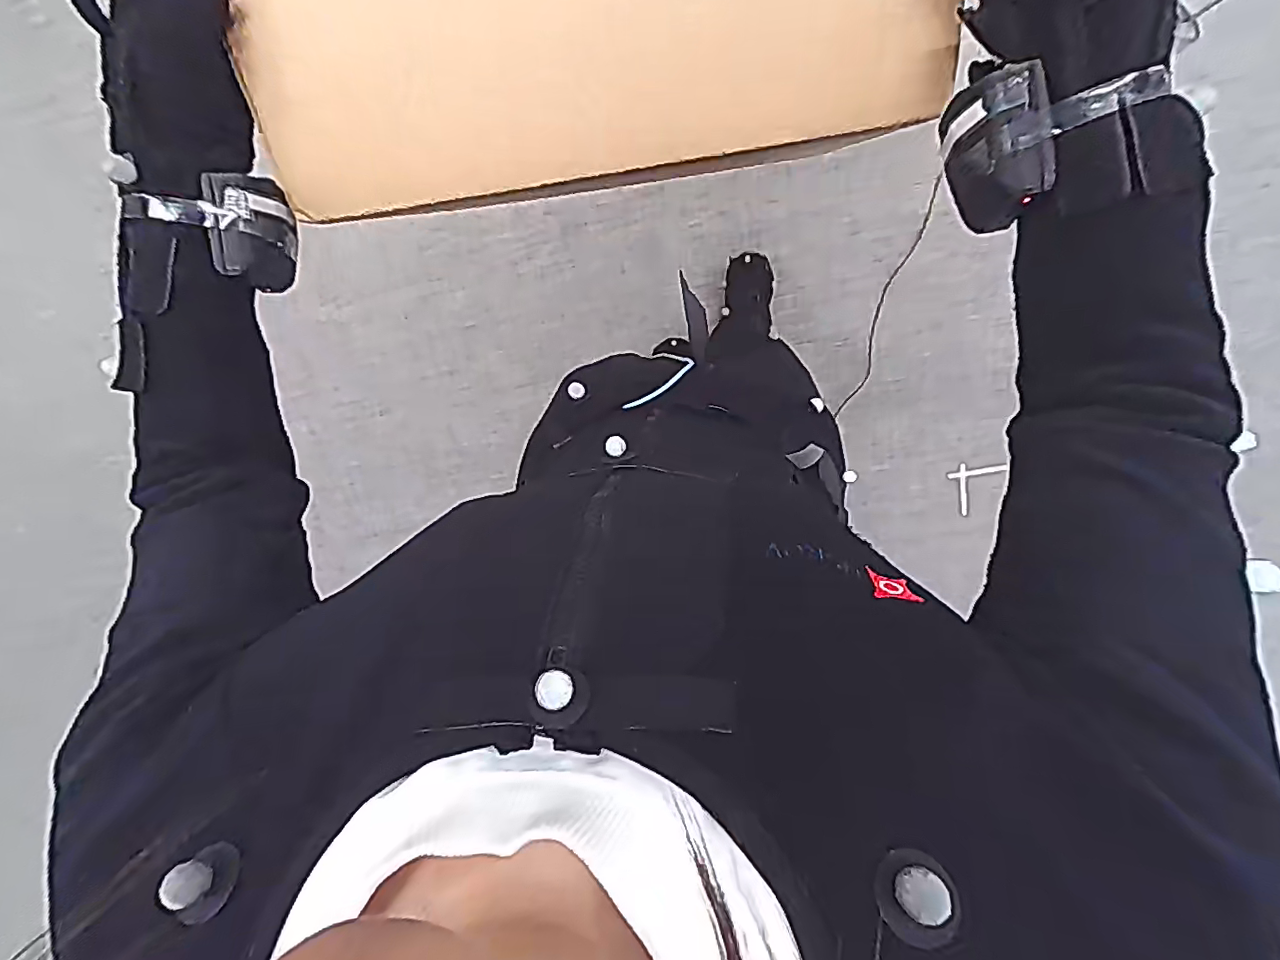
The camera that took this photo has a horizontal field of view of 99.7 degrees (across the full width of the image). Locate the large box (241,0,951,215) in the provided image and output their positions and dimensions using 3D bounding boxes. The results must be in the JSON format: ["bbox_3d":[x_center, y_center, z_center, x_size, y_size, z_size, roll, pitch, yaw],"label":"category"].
[{"bbox_3d":[-0.032,-0.403,0.402,0.408,0.320,0.320,-5,118,9],"label":"large box"}]
